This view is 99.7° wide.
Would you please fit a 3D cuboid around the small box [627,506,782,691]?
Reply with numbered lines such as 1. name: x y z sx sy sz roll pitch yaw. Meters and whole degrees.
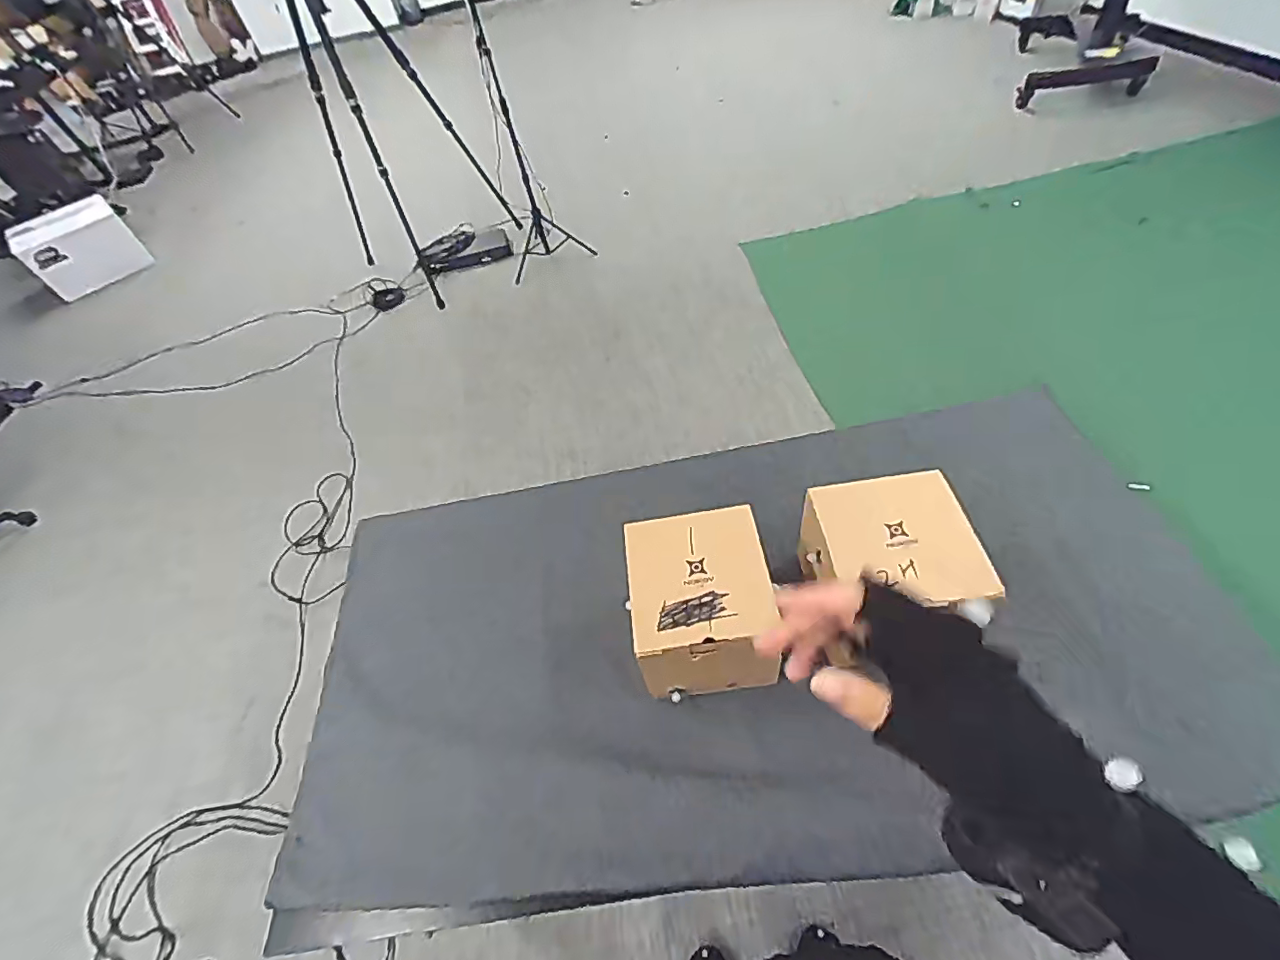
1. small box: 0.082 0.161 0.701 0.168 0.176 0.179 -9 51 4

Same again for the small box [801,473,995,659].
1. small box: 0.309 0.114 0.695 0.168 0.176 0.179 -7 54 7
